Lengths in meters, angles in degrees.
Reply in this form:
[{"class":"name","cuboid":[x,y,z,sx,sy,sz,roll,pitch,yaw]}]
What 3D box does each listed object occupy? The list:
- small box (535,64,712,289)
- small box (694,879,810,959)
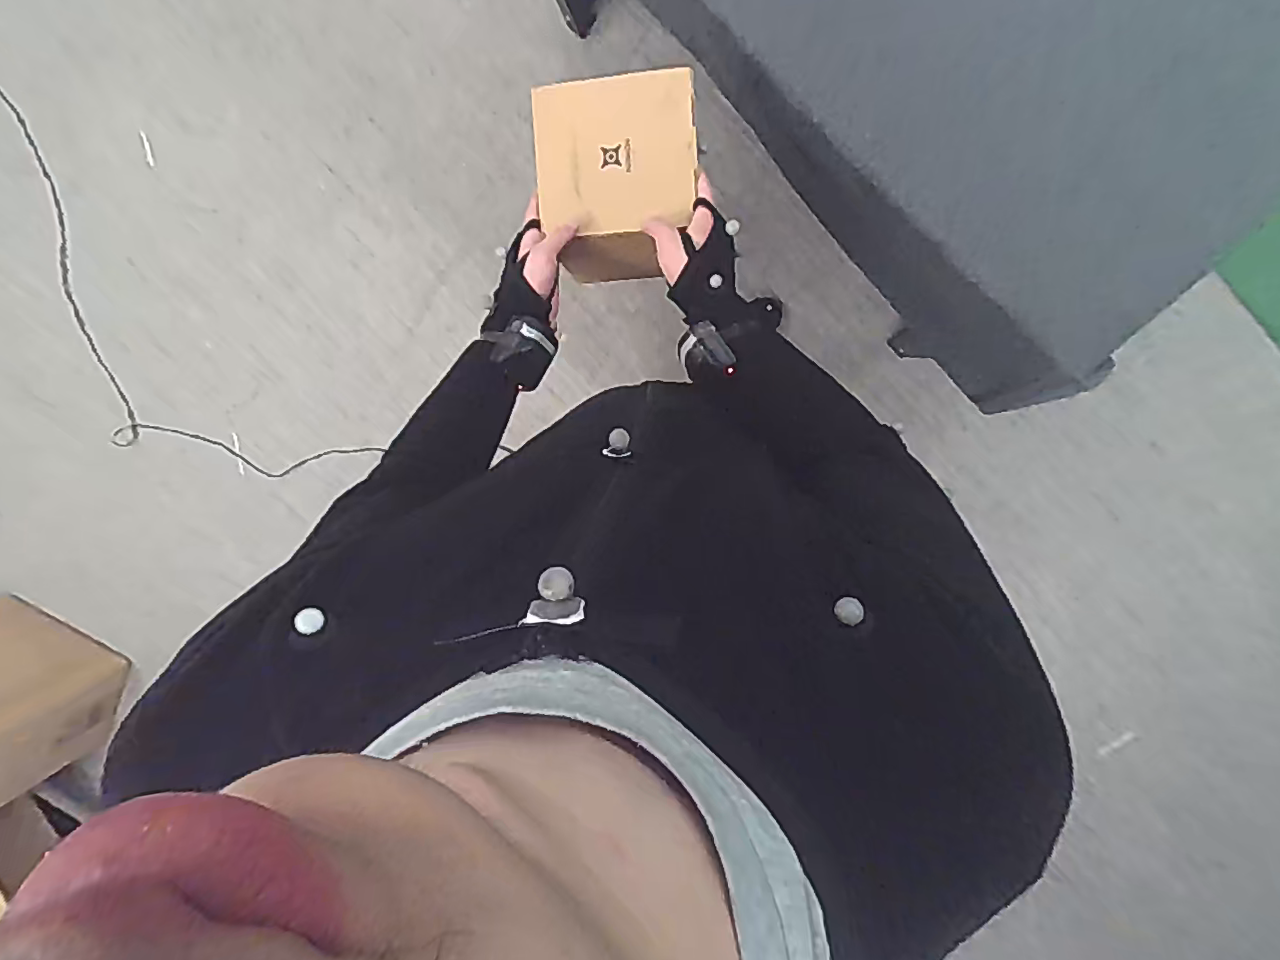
[{"class":"small box","cuboid":[-0.011,-0.339,0.639,0.179,0.176,0.168,-5,92,6]},{"class":"small box","cuboid":[0.217,0.929,1.038,0.179,0.176,0.168,-43,95,13]}]
